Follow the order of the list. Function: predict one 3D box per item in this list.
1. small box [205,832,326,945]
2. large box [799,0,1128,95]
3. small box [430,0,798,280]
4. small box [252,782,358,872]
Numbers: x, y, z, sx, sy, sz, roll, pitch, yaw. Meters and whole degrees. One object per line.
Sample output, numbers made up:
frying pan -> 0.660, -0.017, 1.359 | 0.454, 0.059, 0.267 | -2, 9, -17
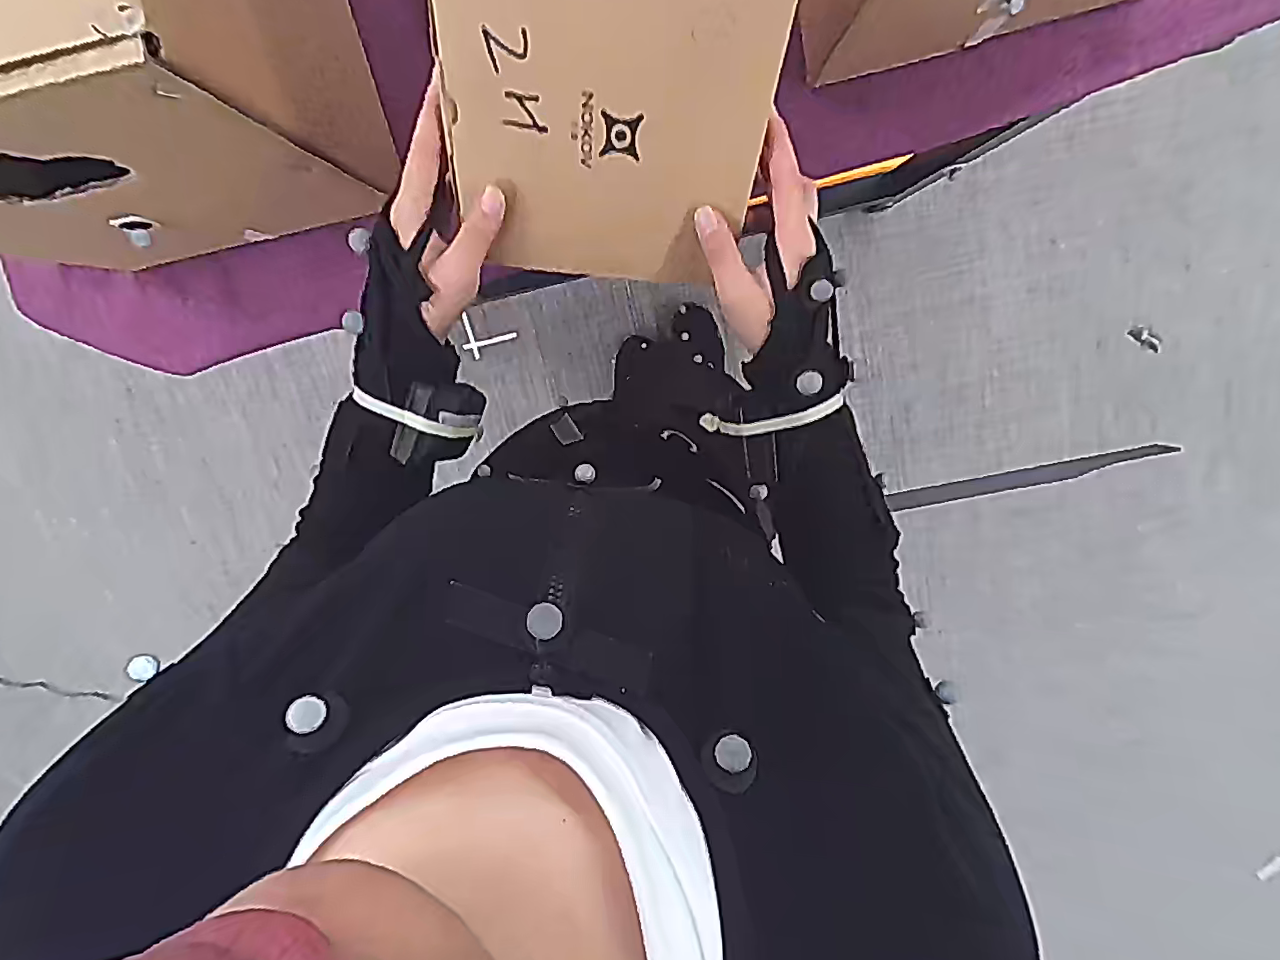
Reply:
small box -> -0.989, 1.079, 1.443 | 0.168, 0.176, 0.179 | -16, 105, 6
large box -> 0.258, -0.551, 0.318 | 0.320, 0.320, 0.408 | -13, 103, 4
small box -> -0.019, -0.253, 0.348 | 0.179, 0.176, 0.168 | 5, 137, -4
small box -> -0.983, 1.039, 1.600 | 0.179, 0.176, 0.168 | -18, 105, 6
